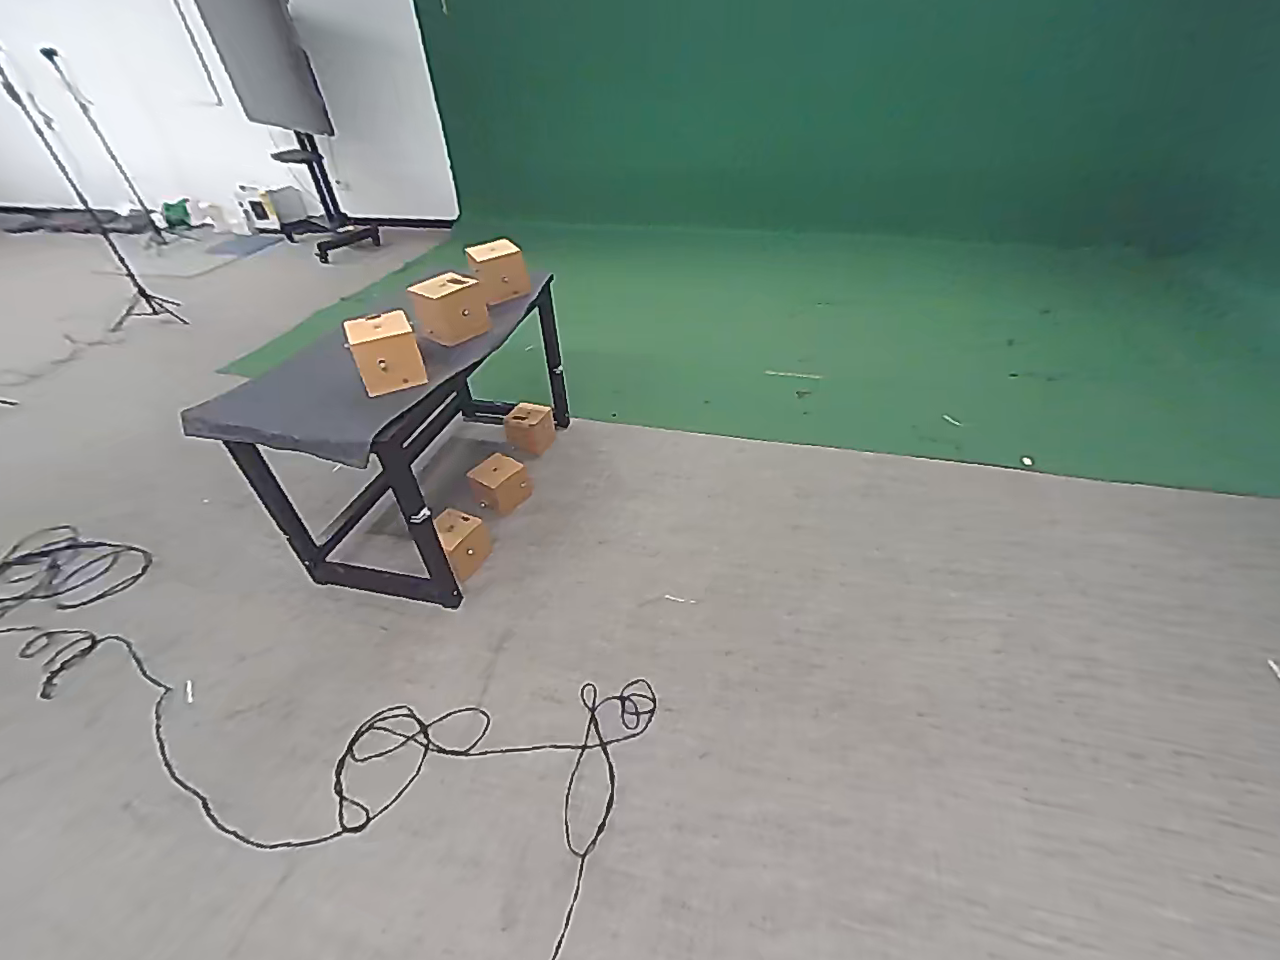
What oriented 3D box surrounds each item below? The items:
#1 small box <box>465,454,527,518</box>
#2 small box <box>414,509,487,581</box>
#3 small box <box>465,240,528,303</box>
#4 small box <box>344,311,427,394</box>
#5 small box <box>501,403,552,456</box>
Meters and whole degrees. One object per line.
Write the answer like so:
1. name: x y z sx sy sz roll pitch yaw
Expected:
1. small box: -0.585 0.024 2.228 0.168 0.176 0.179 22 47 27
2. small box: -0.683 0.241 1.975 0.168 0.176 0.179 16 44 21
3. small box: -0.543 -0.789 2.056 0.168 0.176 0.179 -23 44 -20
4. small box: -0.734 -0.365 1.567 0.168 0.176 0.179 -20 43 -20
5. small box: -0.523 -0.235 2.535 0.168 0.176 0.179 12 41 15
